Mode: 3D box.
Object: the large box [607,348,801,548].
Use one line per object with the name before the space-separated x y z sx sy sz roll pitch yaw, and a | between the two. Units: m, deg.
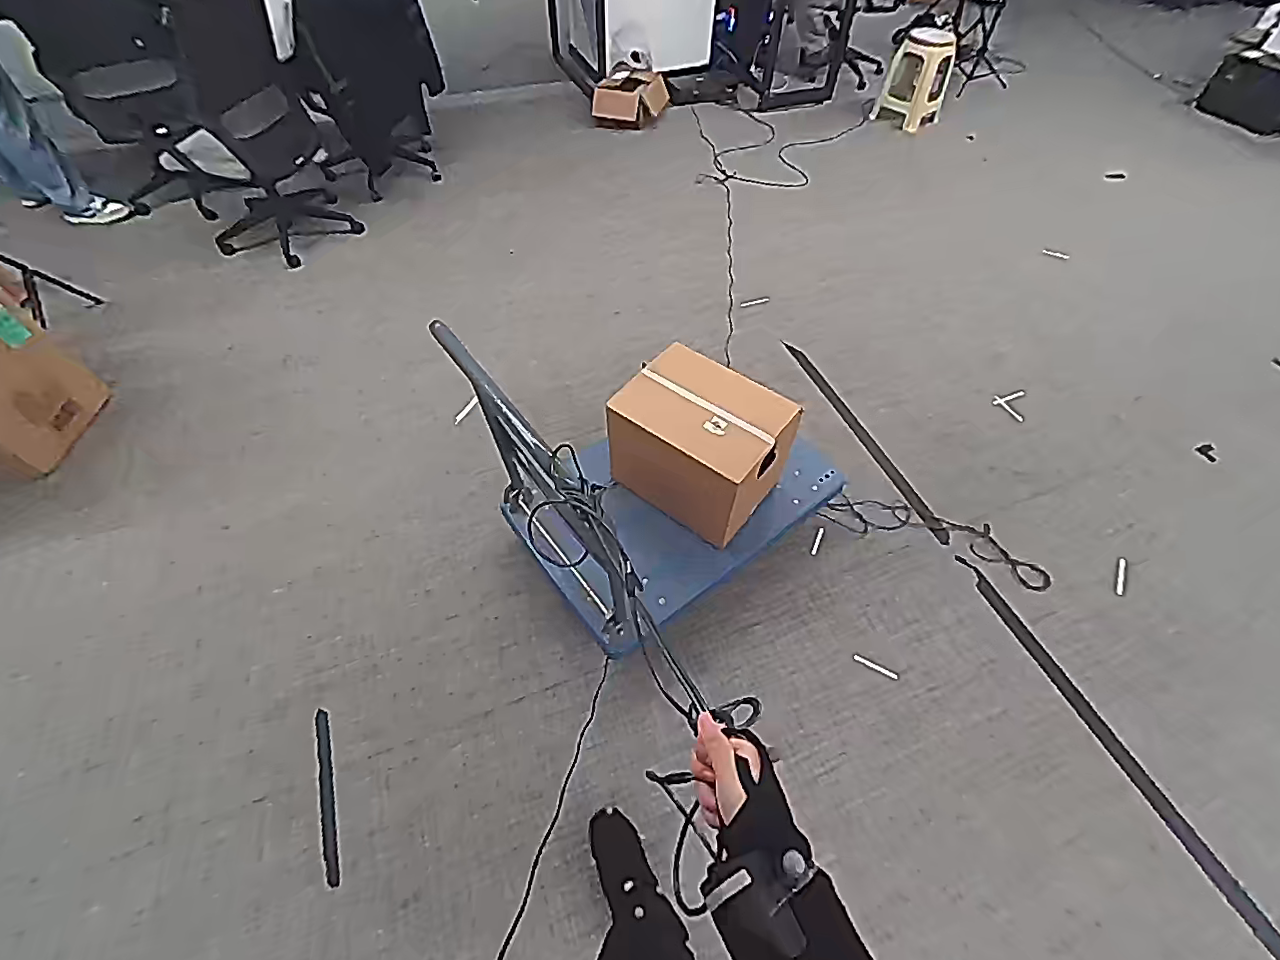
large box | 0.158 -0.089 1.486 0.408 0.320 0.320 33 61 21
